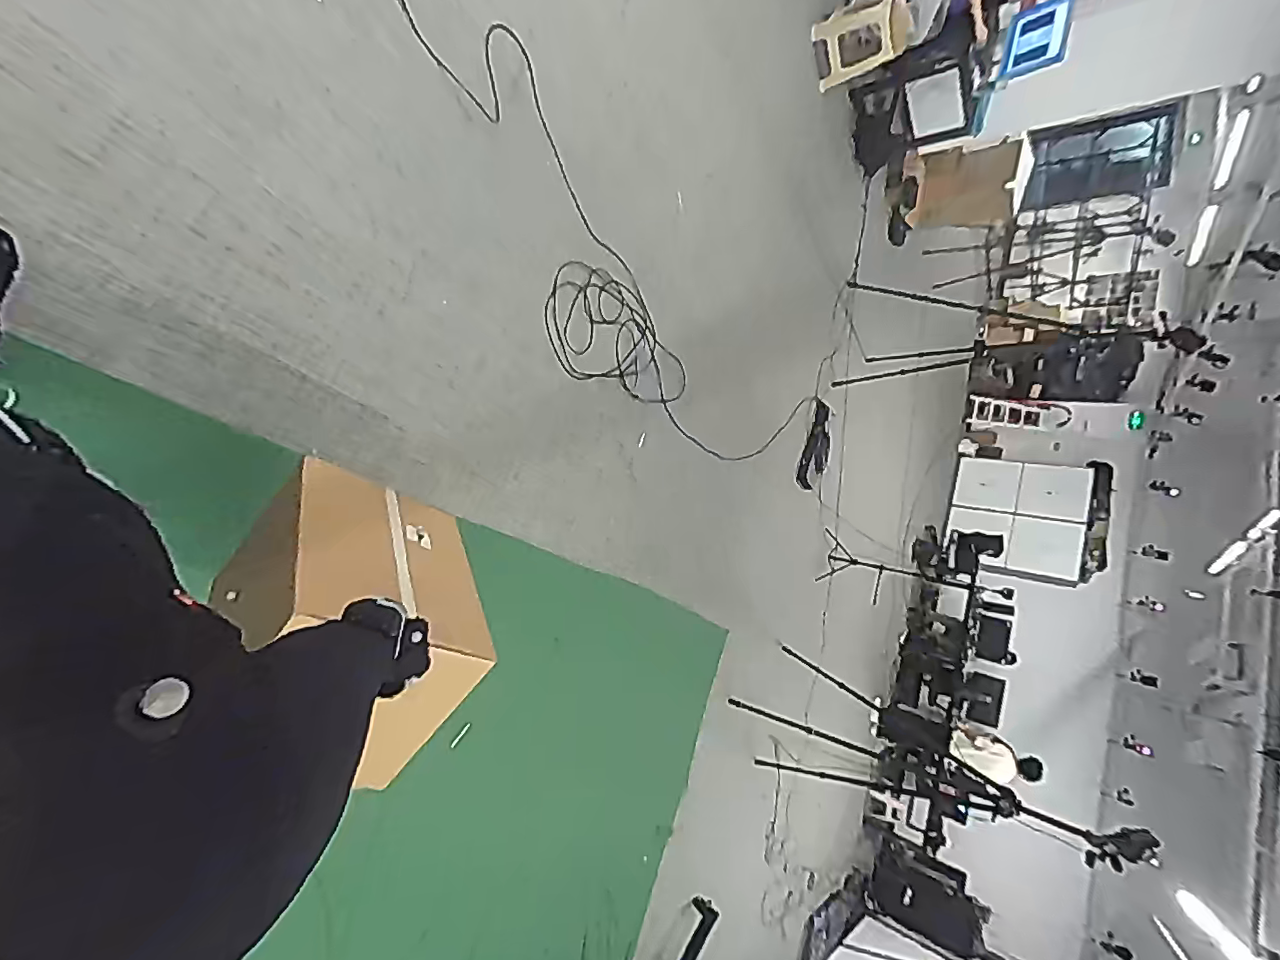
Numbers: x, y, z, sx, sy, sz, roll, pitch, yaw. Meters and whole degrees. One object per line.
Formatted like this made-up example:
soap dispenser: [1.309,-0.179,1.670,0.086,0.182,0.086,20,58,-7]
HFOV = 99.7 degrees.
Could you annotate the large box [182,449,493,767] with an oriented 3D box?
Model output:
large box: [-0.513,0.220,0.942,0.320,0.408,0.320,-48,132,8]
